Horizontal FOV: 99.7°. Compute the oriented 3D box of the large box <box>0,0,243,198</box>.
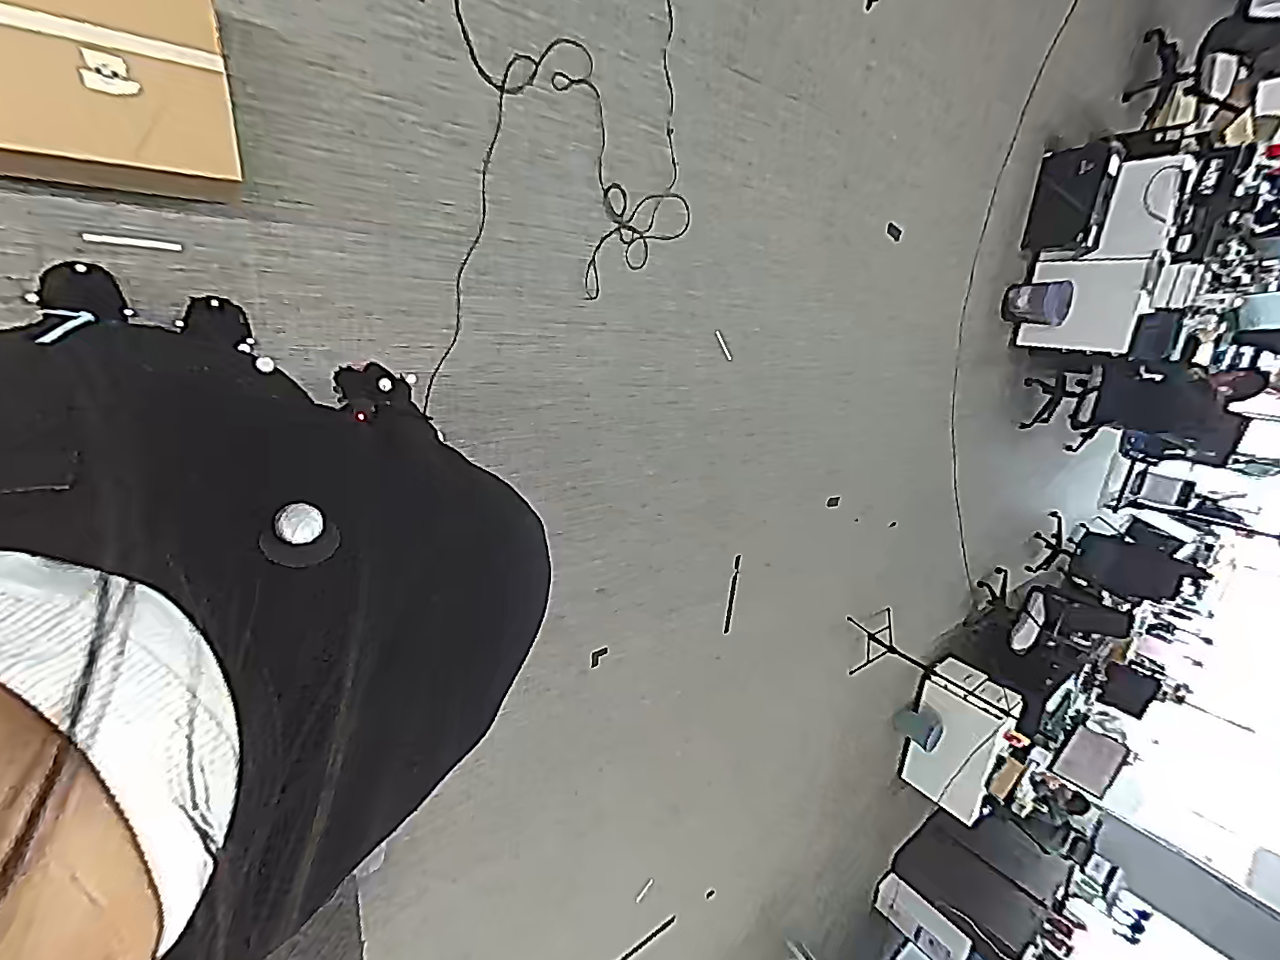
[{"bbox_3d":[-0.881,-0.639,0.817,0.408,0.320,0.320,-11,113,-36],"label":"large box"}]

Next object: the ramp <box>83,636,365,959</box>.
[{"bbox_3d":[-1.005,0.928,1.368,0.509,0.206,0.991,-8,110,-35],"label":"ramp"}]
